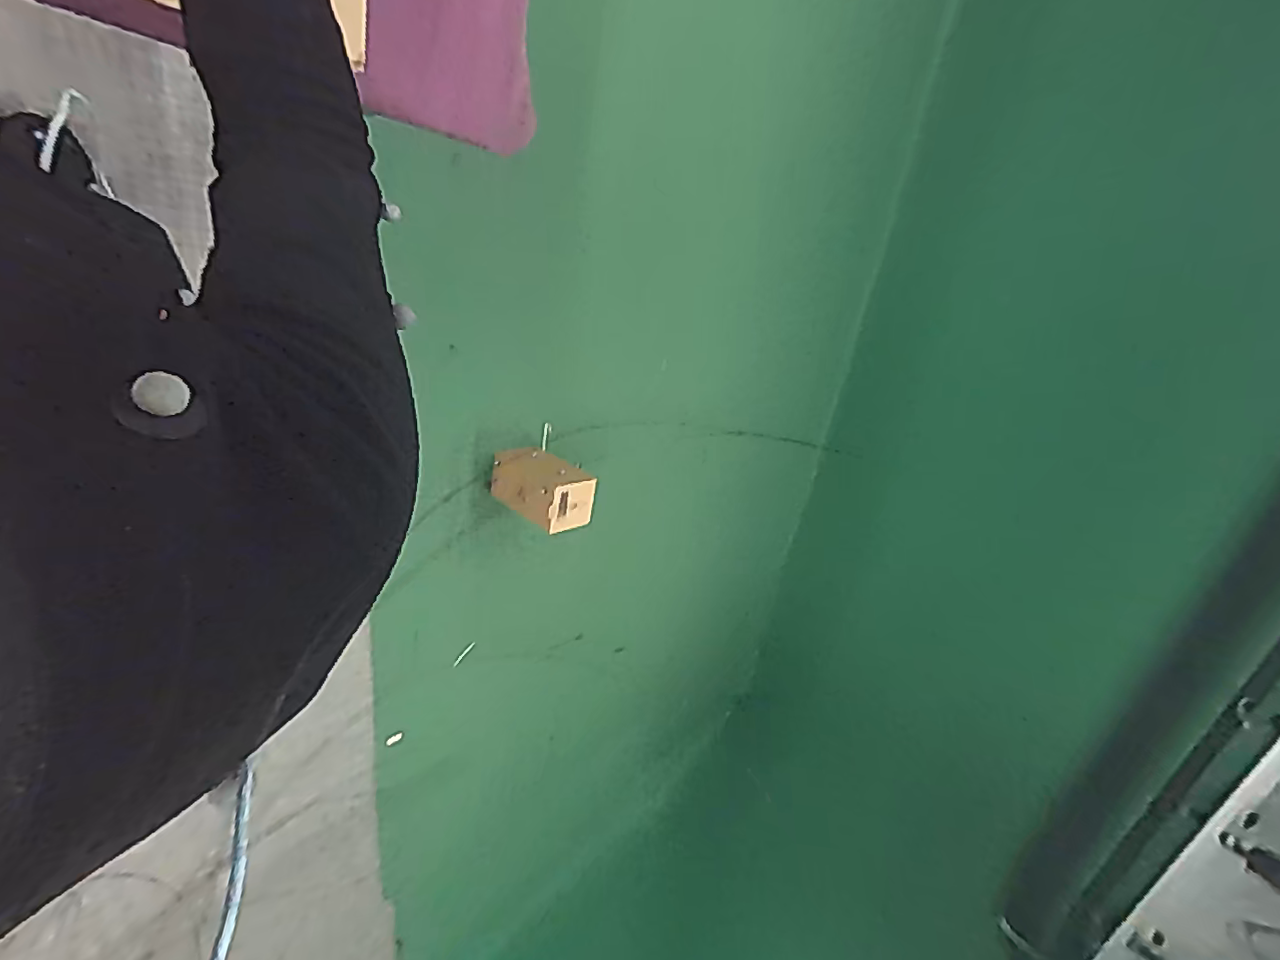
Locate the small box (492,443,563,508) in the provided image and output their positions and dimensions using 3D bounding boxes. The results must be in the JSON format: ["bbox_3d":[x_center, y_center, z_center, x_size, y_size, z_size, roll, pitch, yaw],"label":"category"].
[{"bbox_3d":[-0.397,-0.021,1.888,0.179,0.176,0.168,-12,122,-47],"label":"small box"}]
